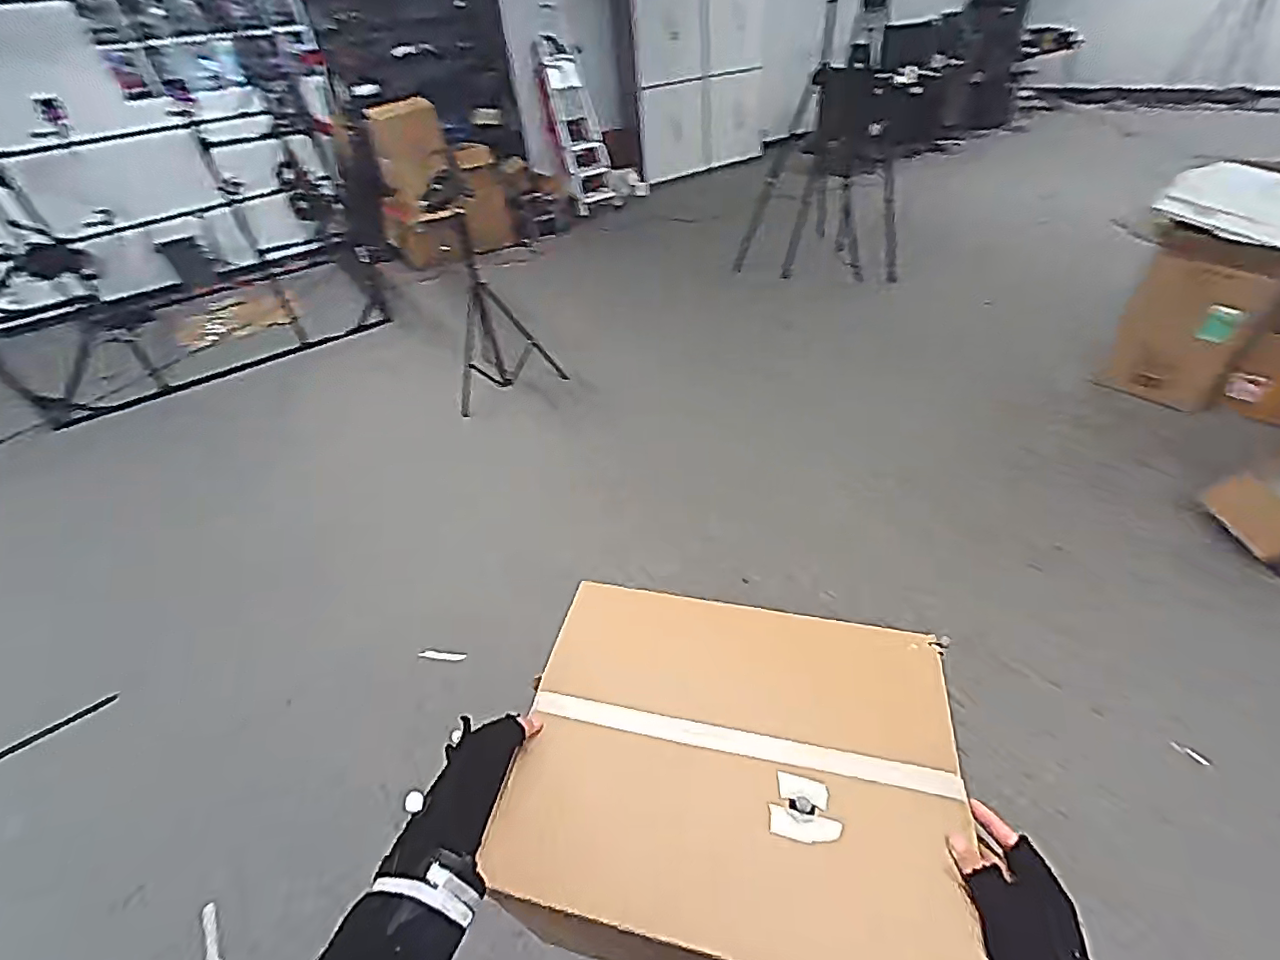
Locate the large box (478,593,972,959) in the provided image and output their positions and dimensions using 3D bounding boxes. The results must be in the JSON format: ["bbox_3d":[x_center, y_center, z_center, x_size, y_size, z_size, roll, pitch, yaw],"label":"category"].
[{"bbox_3d":[0.089,0.369,0.634,0.408,0.320,0.320,6,44,12],"label":"large box"}]
